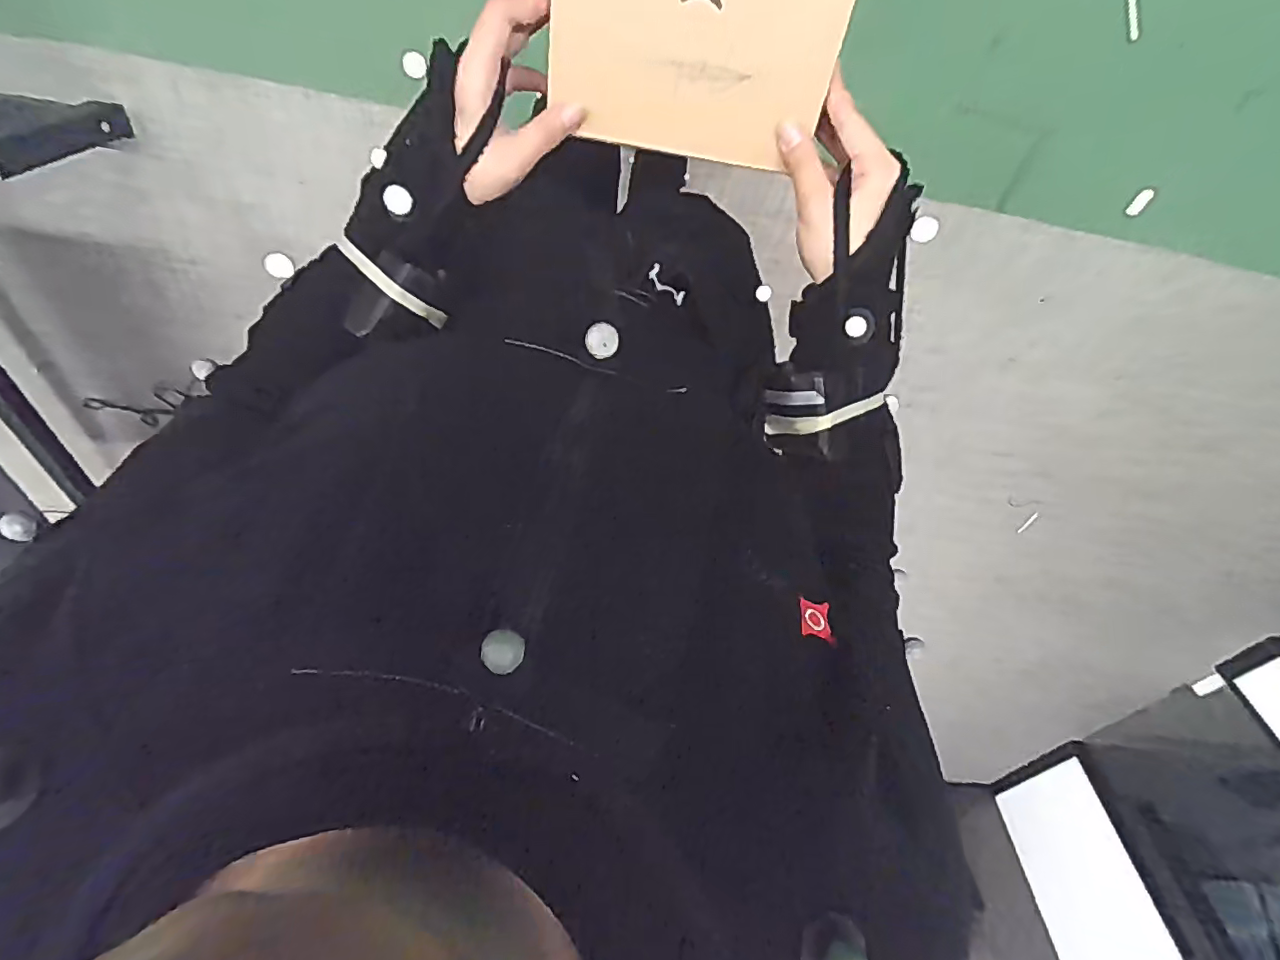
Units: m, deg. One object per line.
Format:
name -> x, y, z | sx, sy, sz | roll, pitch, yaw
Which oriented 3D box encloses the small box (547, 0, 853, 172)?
small box -> 0.038, -0.328, 0.347 | 0.168, 0.176, 0.179 | 9, 132, -5
